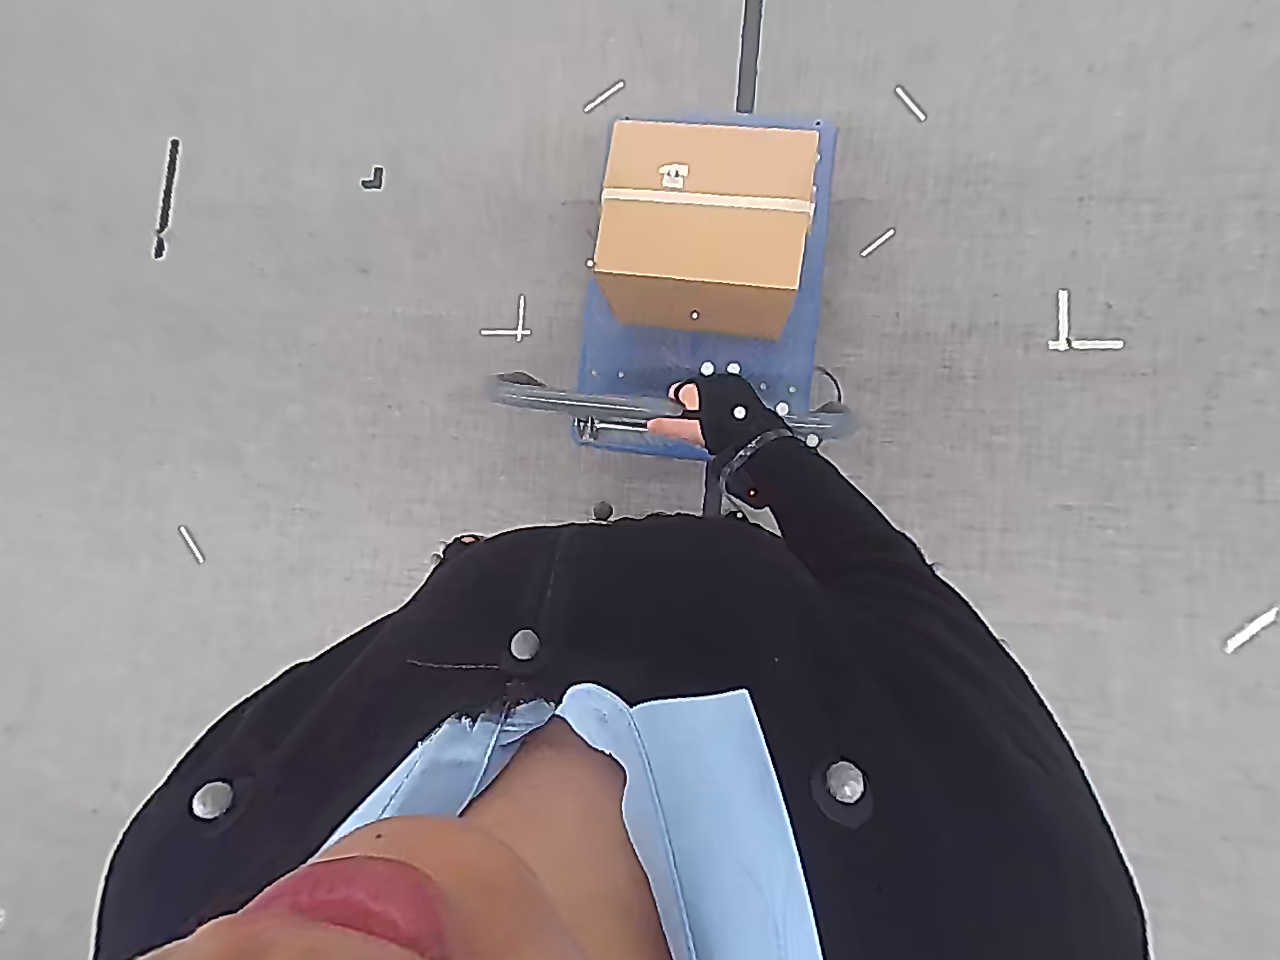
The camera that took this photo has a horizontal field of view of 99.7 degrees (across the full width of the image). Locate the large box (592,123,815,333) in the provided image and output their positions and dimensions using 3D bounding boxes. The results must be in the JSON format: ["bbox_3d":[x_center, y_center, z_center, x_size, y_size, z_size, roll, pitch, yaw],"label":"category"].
[{"bbox_3d":[0.142,-0.529,1.187,0.408,0.320,0.320,8,87,9],"label":"large box"}]
